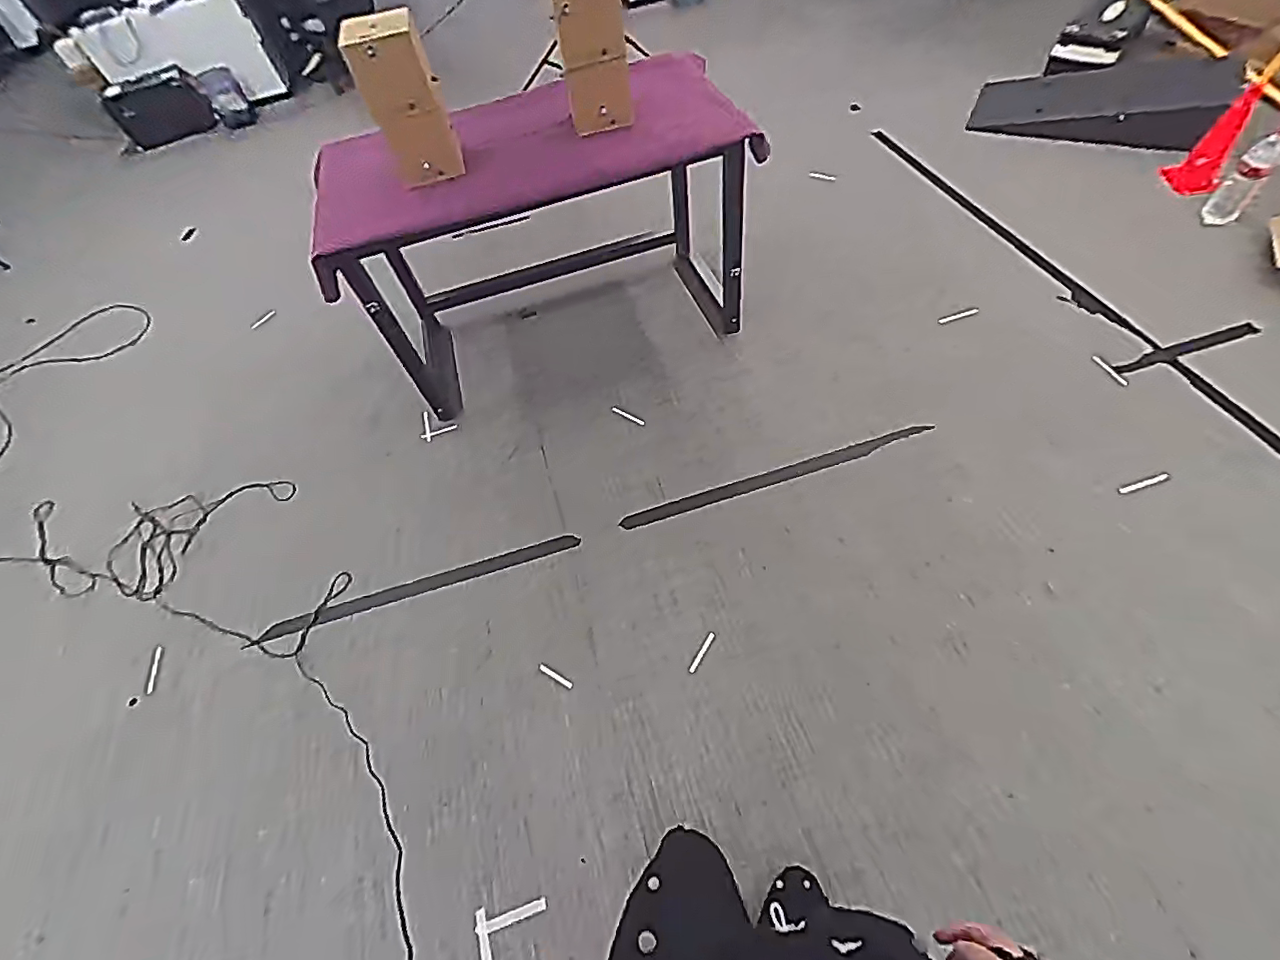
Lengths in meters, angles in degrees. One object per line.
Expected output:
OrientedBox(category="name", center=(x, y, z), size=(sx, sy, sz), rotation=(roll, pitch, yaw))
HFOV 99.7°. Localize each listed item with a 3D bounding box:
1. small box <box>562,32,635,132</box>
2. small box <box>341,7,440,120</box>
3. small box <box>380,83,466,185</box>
OrientedBox(category="small box", center=(-0.115, -1.119, 1.525), size=(0.168, 0.176, 0.179), rotation=(-13, 56, 1))
OrientedBox(category="small box", center=(-0.612, -1.035, 1.347), size=(0.168, 0.176, 0.179), rotation=(-16, 56, -2))
OrientedBox(category="small box", center=(-0.590, -0.946, 1.484), size=(0.168, 0.176, 0.179), rotation=(-16, 57, -2))
